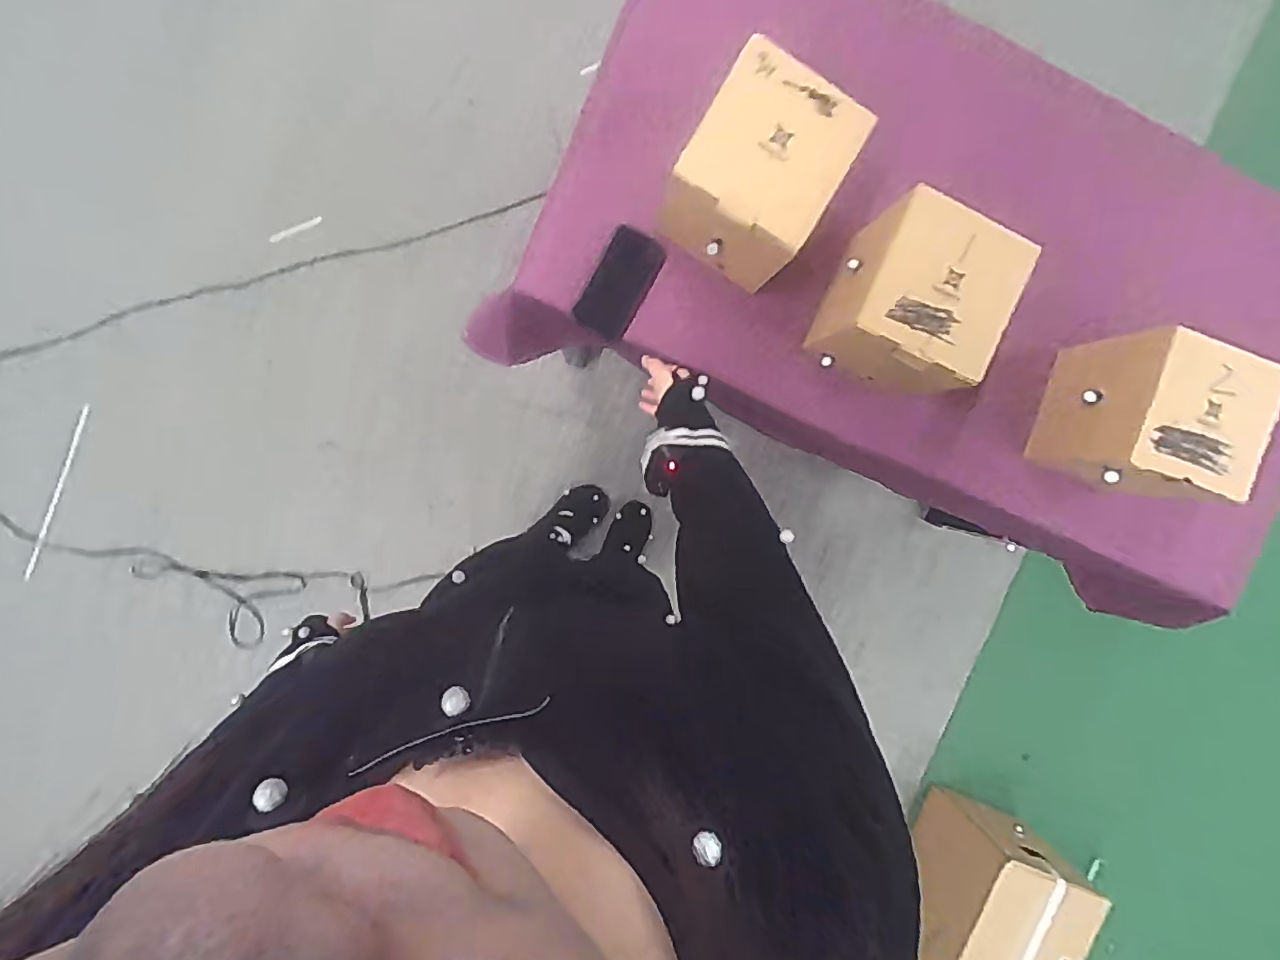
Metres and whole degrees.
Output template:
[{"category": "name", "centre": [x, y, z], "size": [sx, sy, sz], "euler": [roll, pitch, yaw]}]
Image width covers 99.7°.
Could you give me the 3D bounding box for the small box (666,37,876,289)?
[{"category": "small box", "centre": [0.143, -0.367, 0.667], "size": [0.168, 0.176, 0.179], "euler": [31, 92, -6]}]

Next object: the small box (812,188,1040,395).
[{"category": "small box", "centre": [0.345, -0.221, 0.692], "size": [0.168, 0.176, 0.179], "euler": [24, 91, -6]}]
